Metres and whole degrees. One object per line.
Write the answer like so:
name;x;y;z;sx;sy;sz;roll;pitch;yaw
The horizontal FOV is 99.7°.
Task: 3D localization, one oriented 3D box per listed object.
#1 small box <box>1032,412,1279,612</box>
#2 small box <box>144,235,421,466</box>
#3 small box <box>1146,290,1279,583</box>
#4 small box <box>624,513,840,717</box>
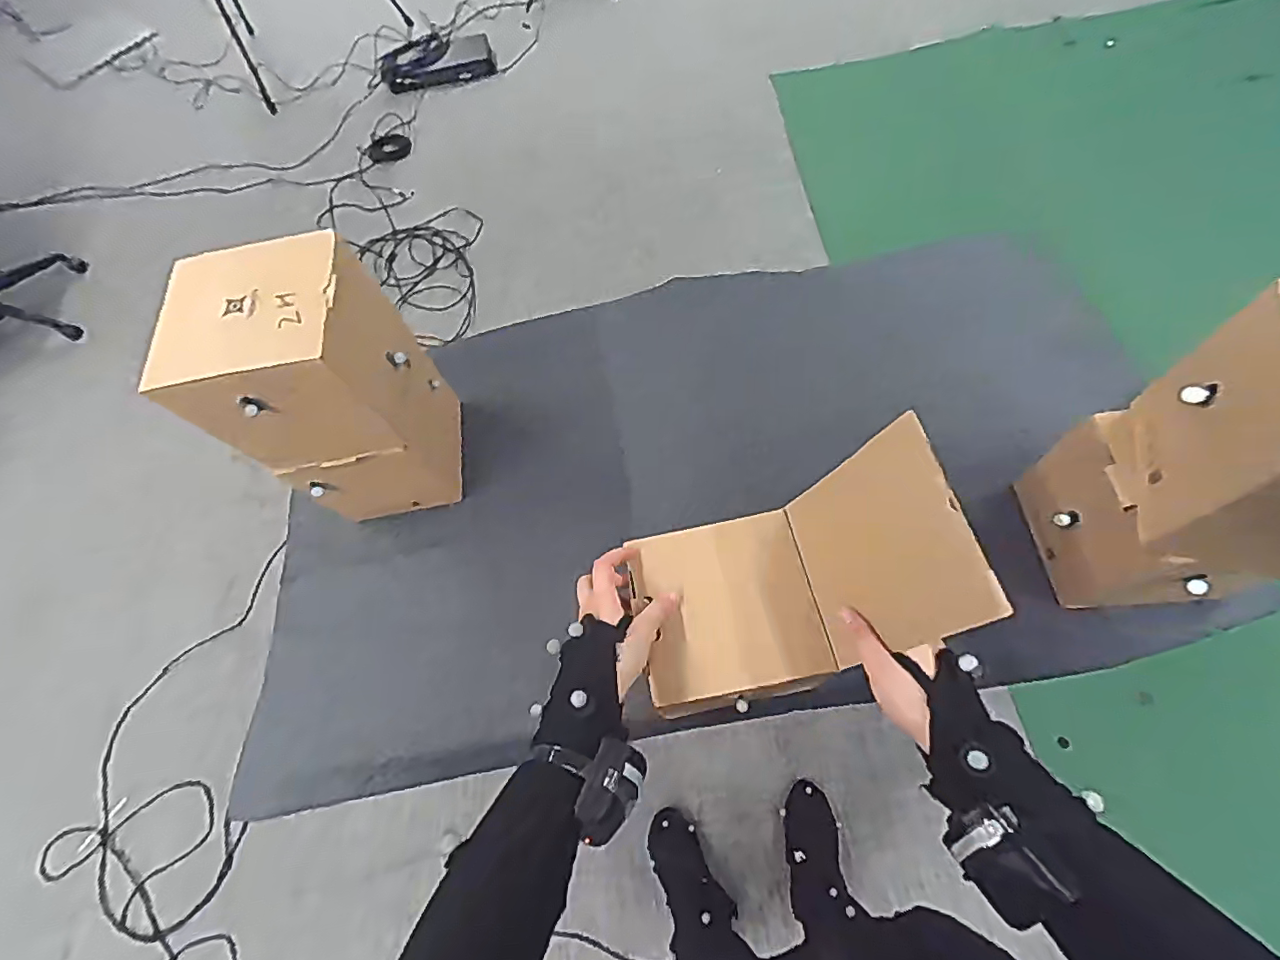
small box;0.563;0.038;0.579;0.179;0.176;0.168;-5;63;6
small box;-0.366;-0.129;0.590;0.179;0.176;0.168;-10;66;2
small box;0.549;-0.020;0.426;0.179;0.176;0.168;15;66;14
small box;0.092;0.156;0.589;0.179;0.176;0.168;-13;65;2
